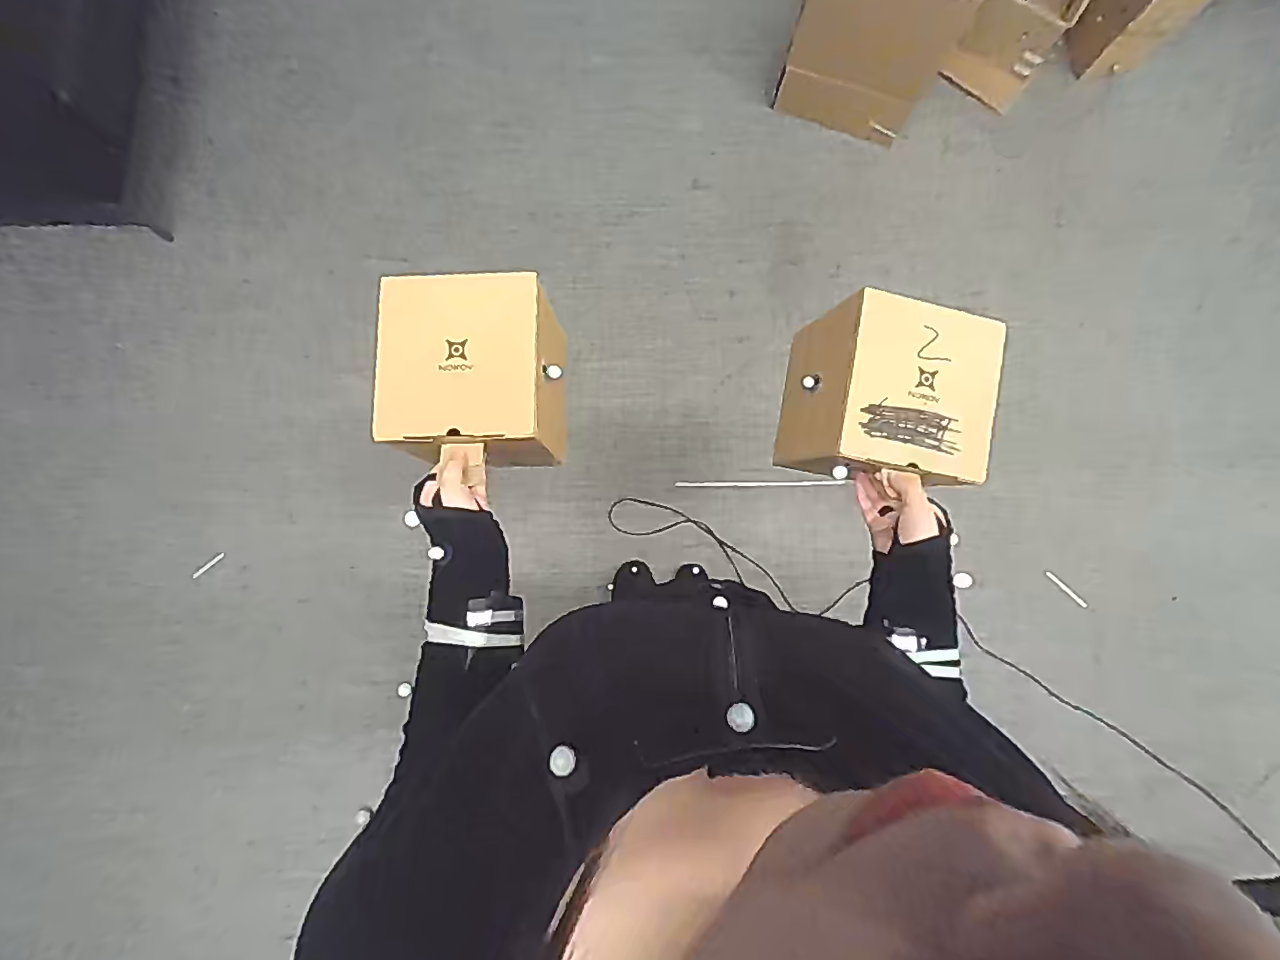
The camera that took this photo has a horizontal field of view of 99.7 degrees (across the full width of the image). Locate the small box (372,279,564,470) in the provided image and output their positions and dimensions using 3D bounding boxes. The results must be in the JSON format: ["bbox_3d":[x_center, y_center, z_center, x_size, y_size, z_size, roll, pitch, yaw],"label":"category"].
[{"bbox_3d":[-0.183,-0.110,0.625,0.168,0.176,0.179,-1,83,1],"label":"small box"}]
